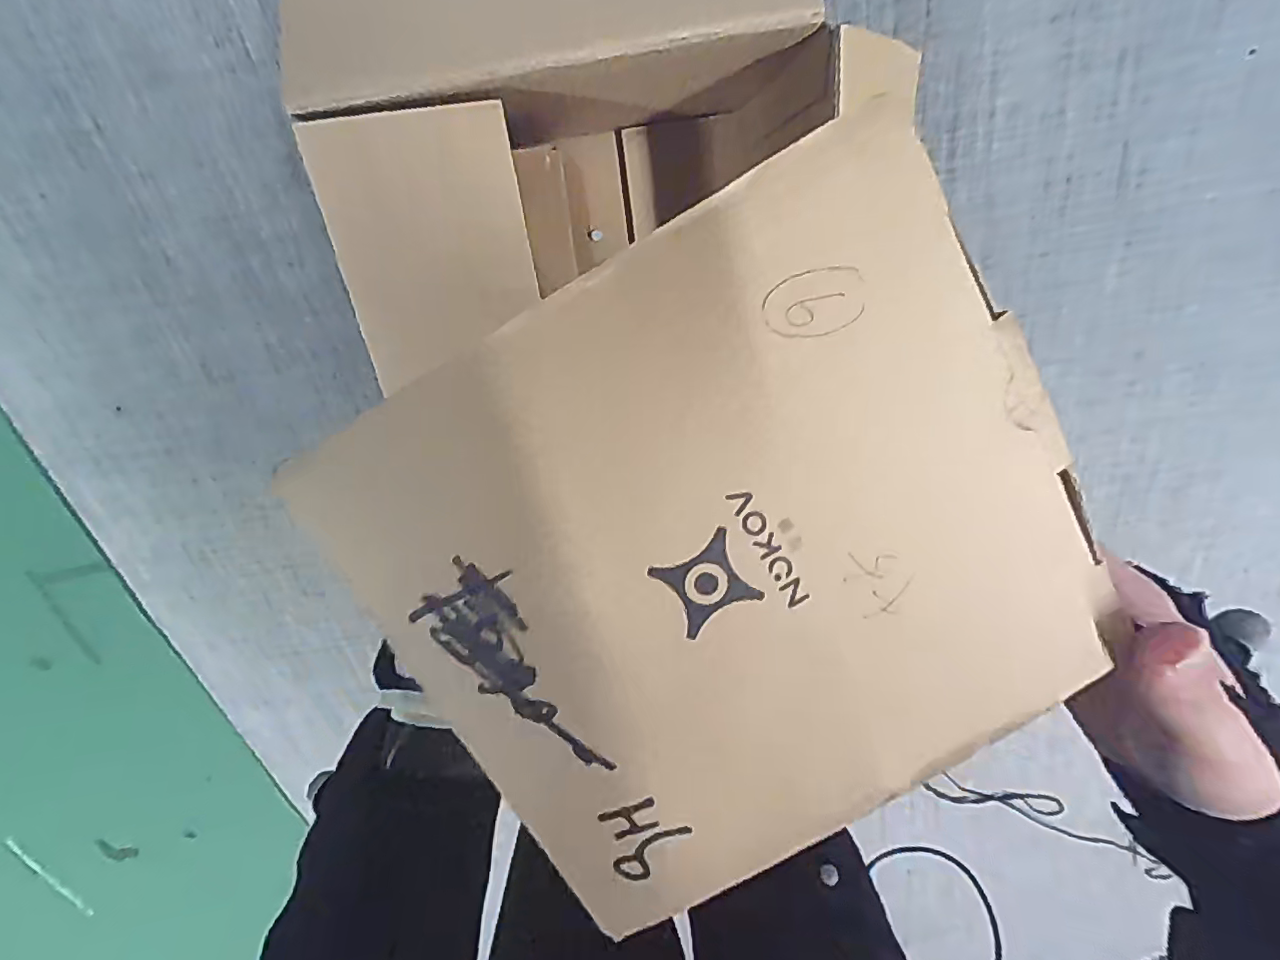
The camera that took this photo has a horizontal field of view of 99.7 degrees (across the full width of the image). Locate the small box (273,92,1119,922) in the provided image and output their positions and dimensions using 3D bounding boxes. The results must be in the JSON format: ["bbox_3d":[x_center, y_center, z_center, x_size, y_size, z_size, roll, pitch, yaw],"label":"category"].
[{"bbox_3d":[0.018,0.005,0.219,0.179,0.176,0.168,-30,100,2],"label":"small box"}]
